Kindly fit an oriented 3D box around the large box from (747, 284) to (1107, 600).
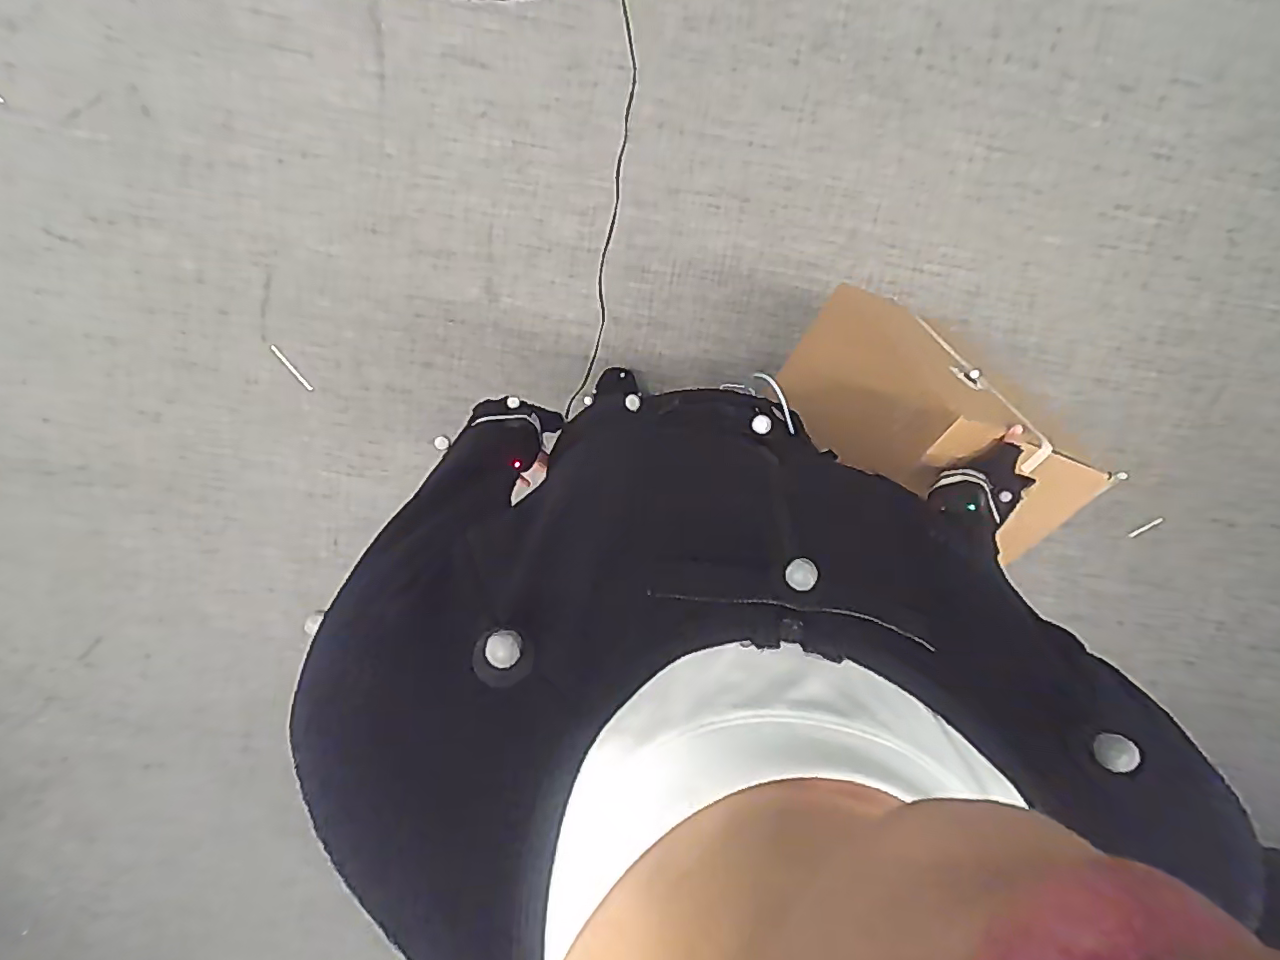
[{"bbox_3d":[0.433,-0.064,0.930,0.320,0.408,0.320,14,130,-20],"label":"large box"}]
